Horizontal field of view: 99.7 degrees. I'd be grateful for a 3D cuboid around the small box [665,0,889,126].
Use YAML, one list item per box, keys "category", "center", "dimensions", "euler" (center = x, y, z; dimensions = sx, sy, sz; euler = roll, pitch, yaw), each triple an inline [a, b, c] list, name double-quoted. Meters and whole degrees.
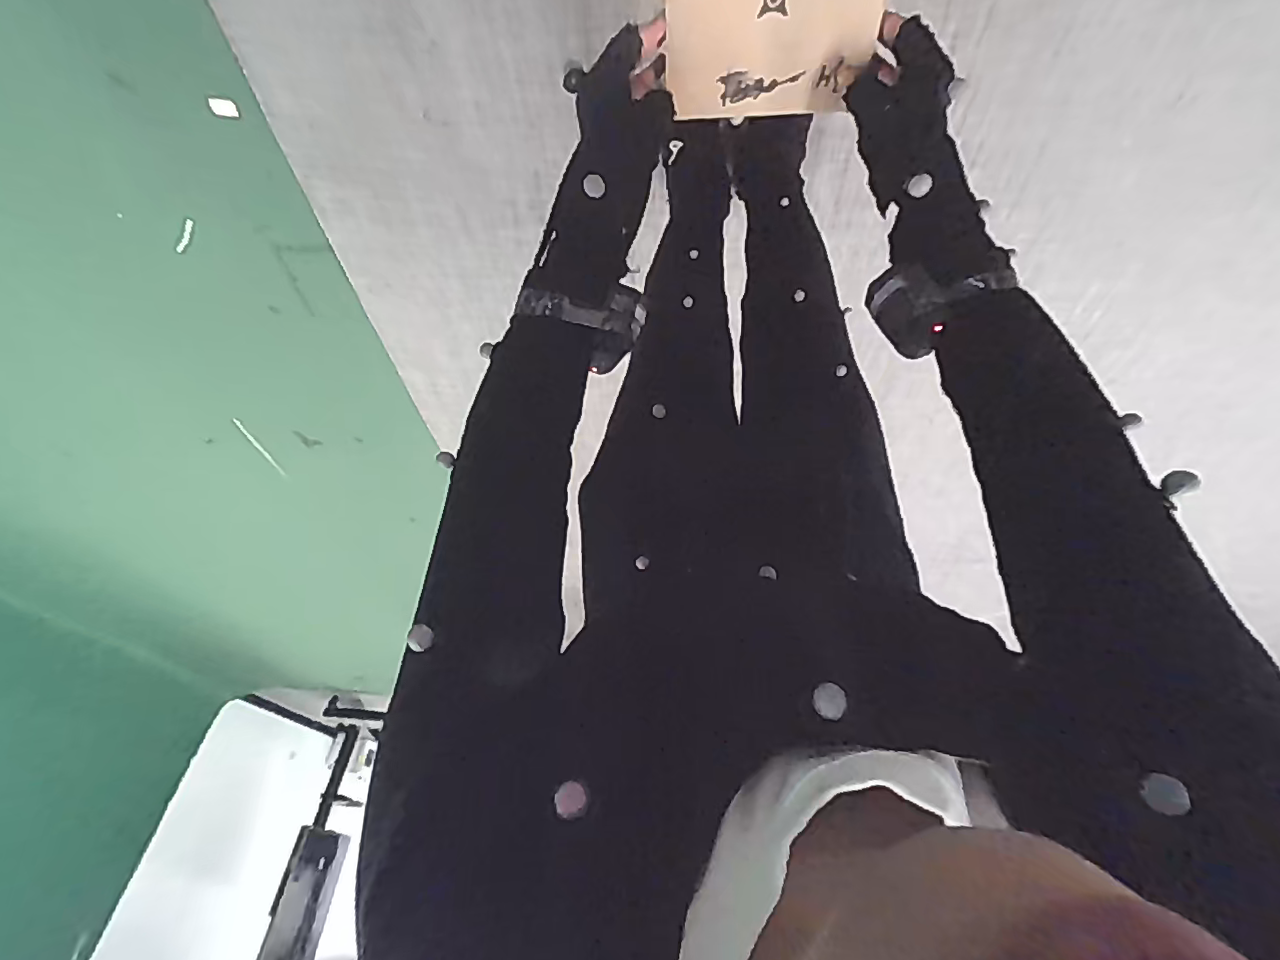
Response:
- category: "small box"
  center: [0.105, -0.427, 0.450]
  dimensions: [0.168, 0.176, 0.179]
  euler: [-1, 144, 3]
